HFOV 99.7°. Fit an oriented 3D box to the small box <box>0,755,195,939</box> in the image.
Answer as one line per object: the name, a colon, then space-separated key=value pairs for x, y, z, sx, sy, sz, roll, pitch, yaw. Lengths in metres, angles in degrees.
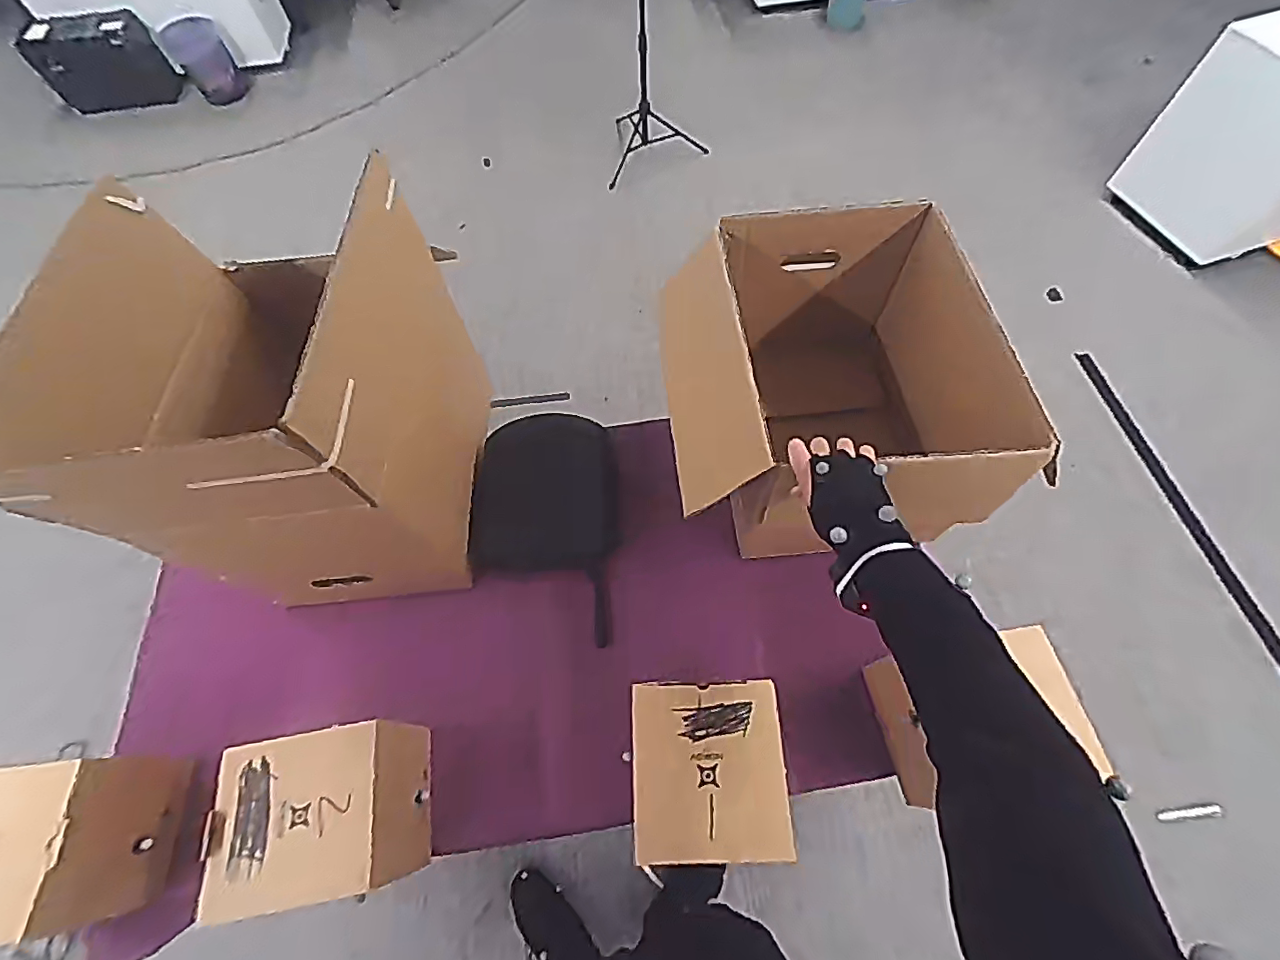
small box: x=-0.703 y=0.433 z=0.650 sx=0.179 sy=0.176 sz=0.168 roll=-6 pitch=63 yaw=-2

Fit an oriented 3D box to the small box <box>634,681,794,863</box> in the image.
small box: x=0.077 y=0.347 z=0.658 sx=0.168 sy=0.176 sz=0.179 roll=-2 pitch=64 yaw=2

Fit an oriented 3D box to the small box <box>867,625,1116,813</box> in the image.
small box: x=0.406 y=0.295 z=0.667 sx=0.168 sy=0.176 sz=0.179 roll=-9 pitch=62 yaw=-1
